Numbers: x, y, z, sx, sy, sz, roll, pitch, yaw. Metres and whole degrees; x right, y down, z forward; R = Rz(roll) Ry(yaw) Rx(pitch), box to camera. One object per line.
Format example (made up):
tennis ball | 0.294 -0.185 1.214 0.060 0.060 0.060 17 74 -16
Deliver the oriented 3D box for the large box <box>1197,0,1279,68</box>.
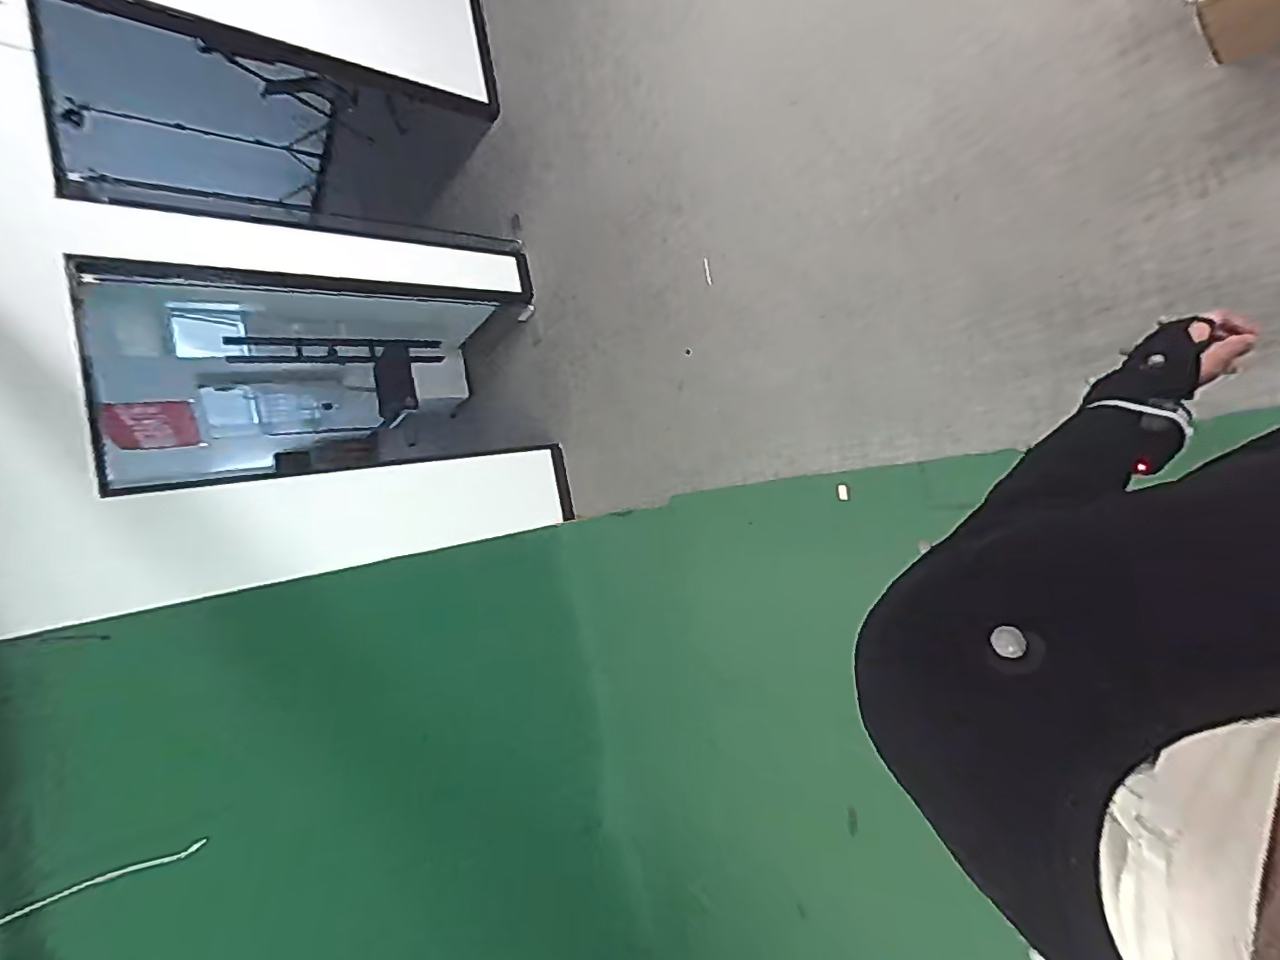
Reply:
large box | 1.153 -0.931 0.809 0.408 0.320 0.320 5 101 53
